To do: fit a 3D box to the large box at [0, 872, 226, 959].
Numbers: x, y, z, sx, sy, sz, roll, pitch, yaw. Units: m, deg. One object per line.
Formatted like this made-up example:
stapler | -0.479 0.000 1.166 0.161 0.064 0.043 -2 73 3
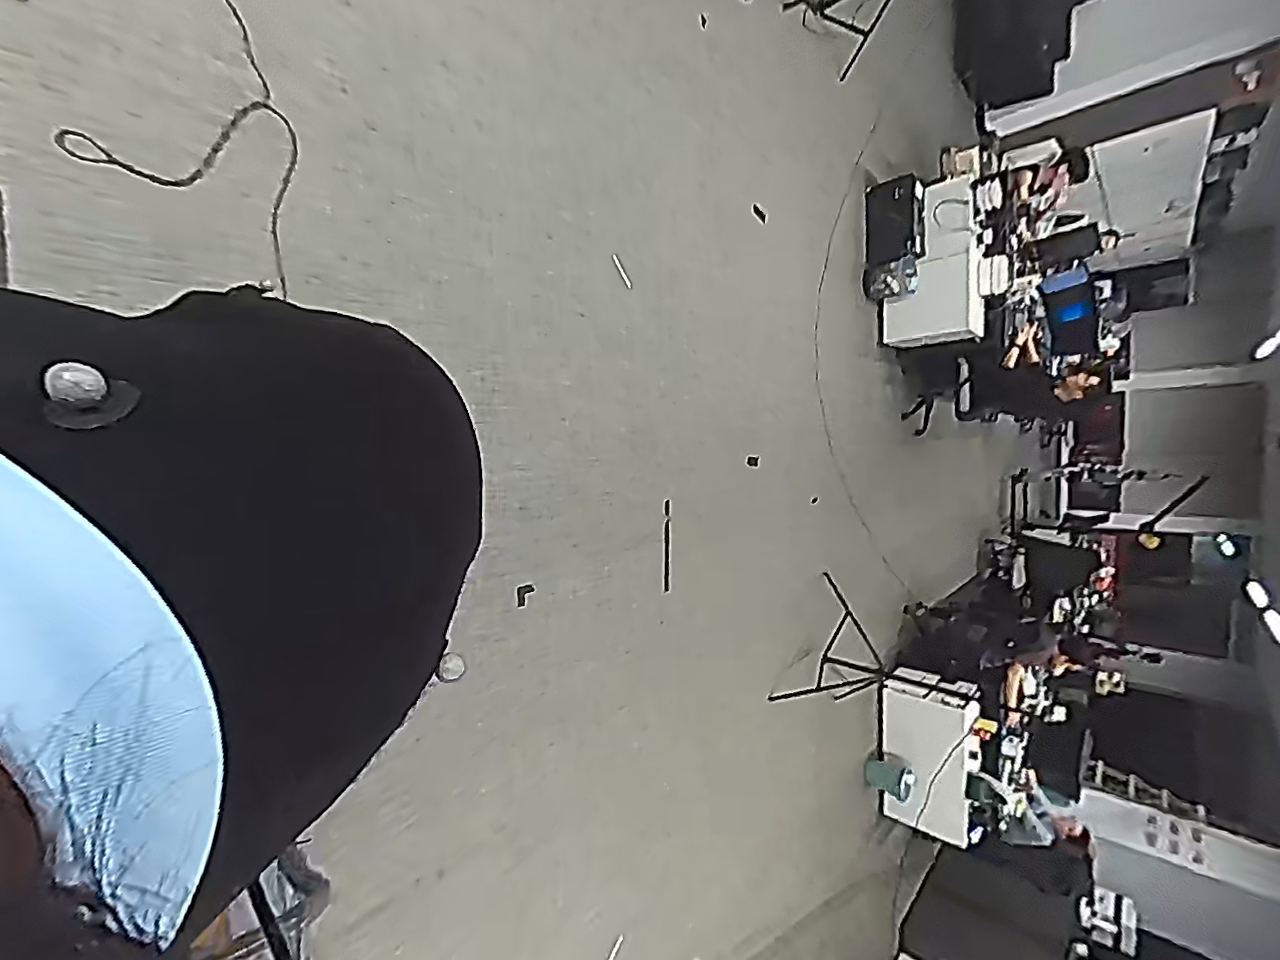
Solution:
large box | -0.914 0.923 0.827 0.408 0.320 0.320 1 91 -48
